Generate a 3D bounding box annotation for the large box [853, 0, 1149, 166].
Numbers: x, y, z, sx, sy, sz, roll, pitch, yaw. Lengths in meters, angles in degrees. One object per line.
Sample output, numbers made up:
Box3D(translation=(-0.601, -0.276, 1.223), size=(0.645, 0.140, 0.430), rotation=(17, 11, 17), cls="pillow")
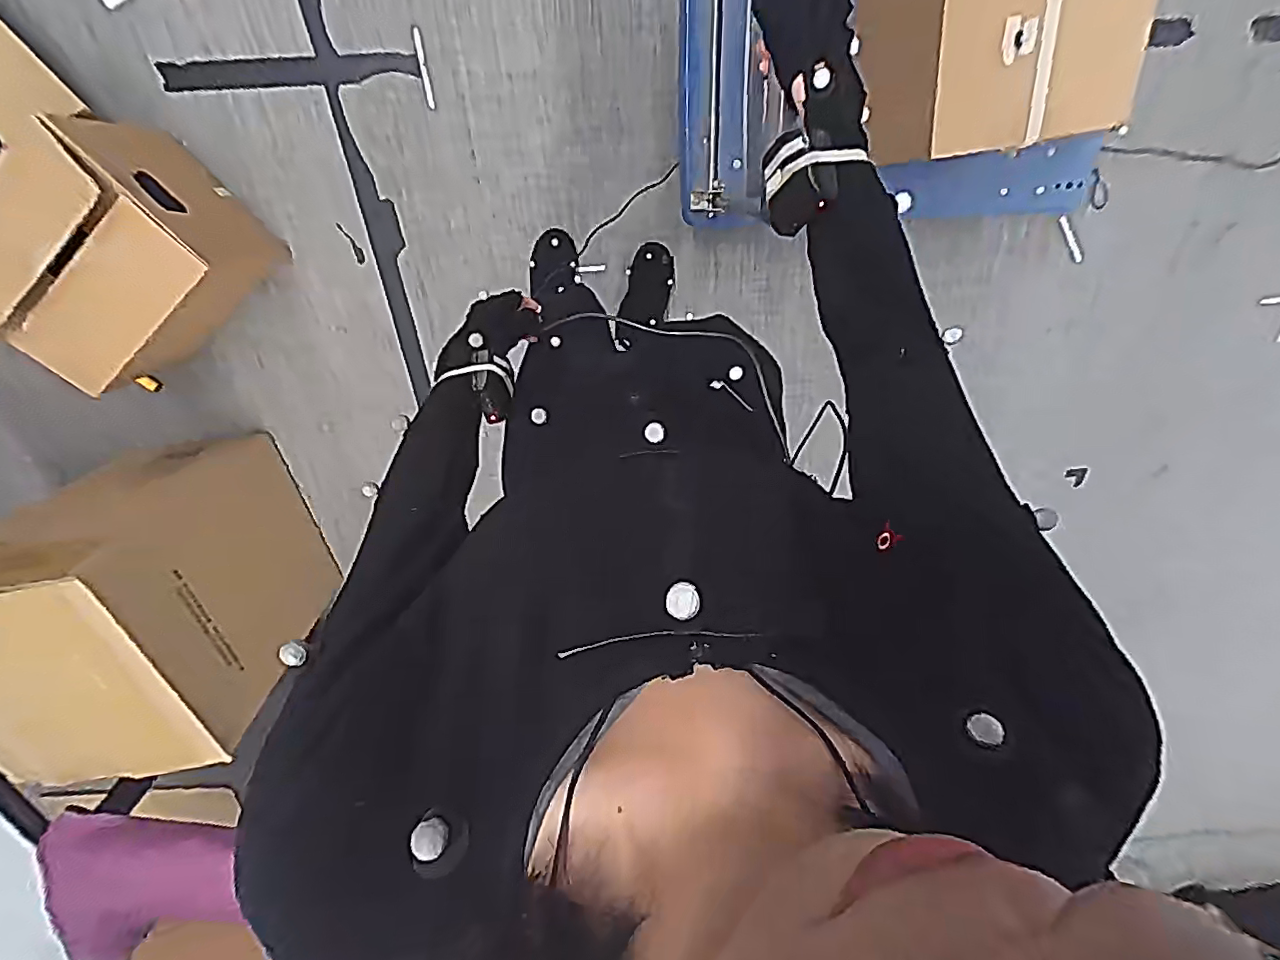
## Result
Box3D(translation=(0.564, -0.774, 0.888), size=(0.320, 0.320, 0.408), rotation=(-9, 119, 1), cls="large box")
